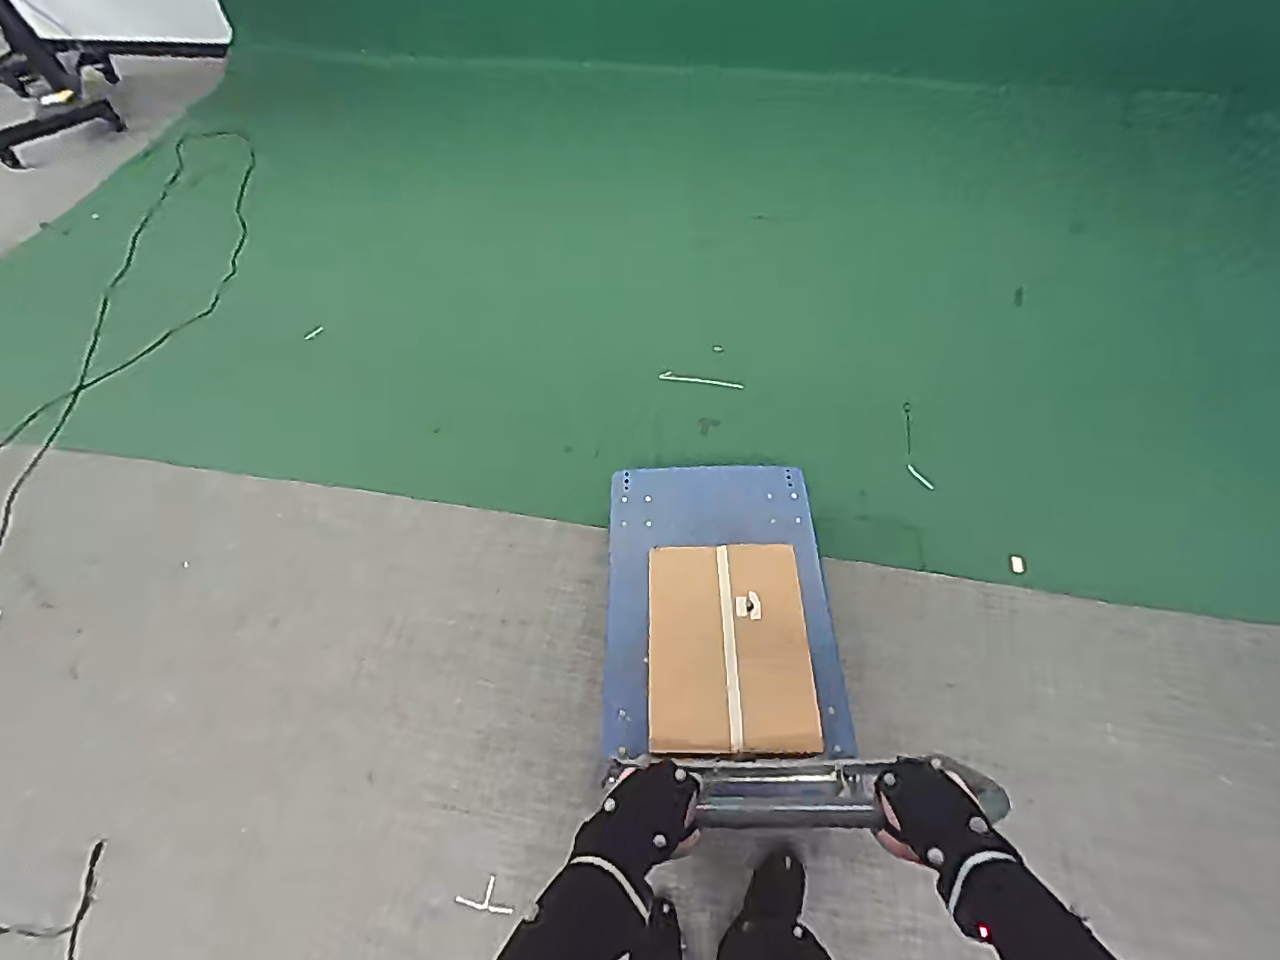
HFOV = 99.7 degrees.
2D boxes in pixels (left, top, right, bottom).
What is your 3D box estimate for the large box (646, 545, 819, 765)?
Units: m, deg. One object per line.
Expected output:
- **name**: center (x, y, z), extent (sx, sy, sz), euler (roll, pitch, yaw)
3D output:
- **large box**: center (0.180, 0.397, 1.211), extent (0.320, 0.320, 0.408), euler (-1, 57, 2)
